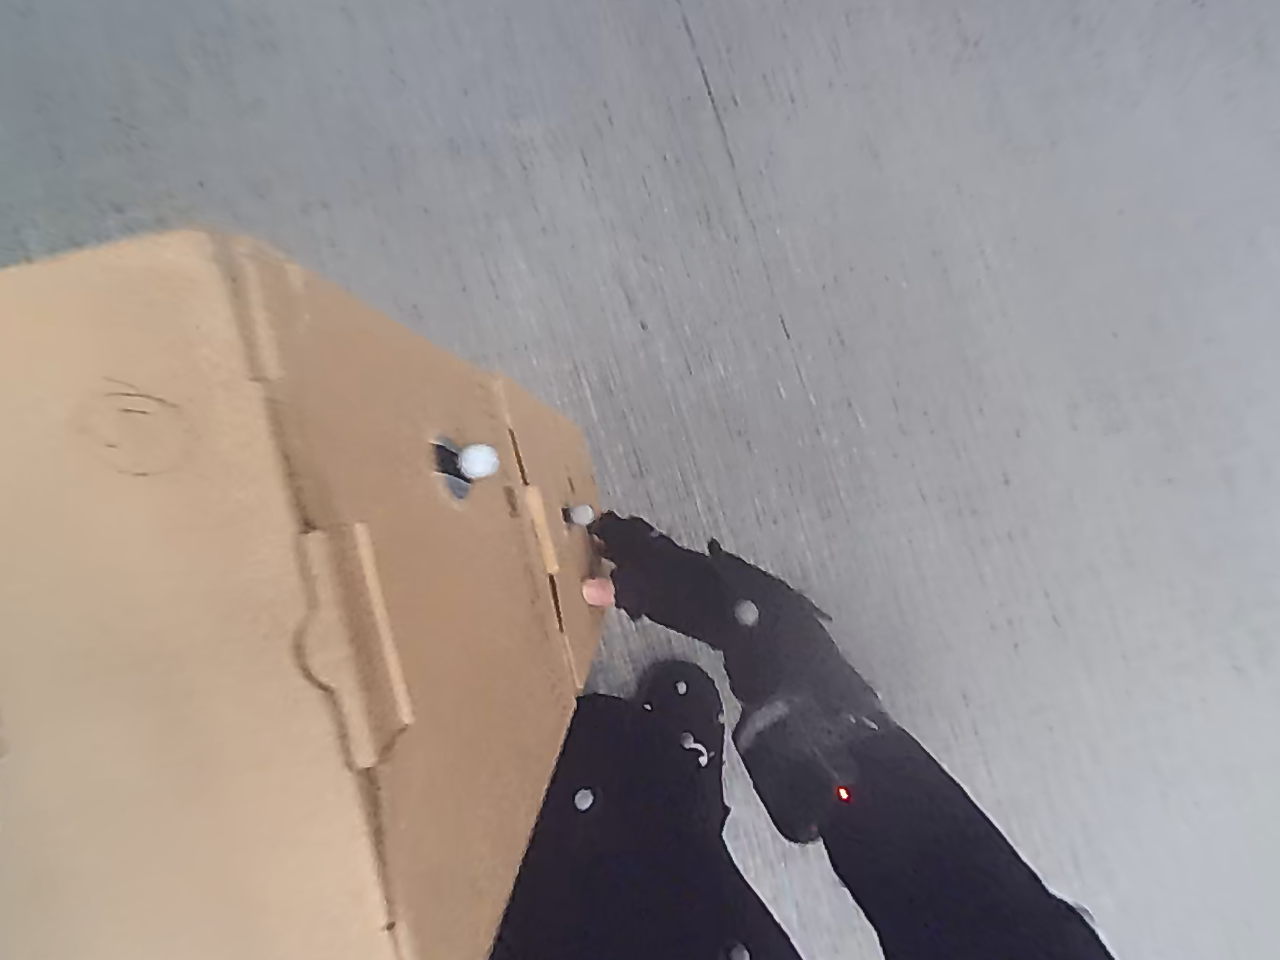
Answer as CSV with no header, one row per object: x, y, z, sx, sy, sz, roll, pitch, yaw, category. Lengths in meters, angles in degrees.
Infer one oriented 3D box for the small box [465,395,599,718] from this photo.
-0.130,0.056,0.342,0.179,0.176,0.168,-17,91,2,small box

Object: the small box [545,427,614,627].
-0.126,0.056,0.502,0.179,0.176,0.168,-15,89,3,small box
